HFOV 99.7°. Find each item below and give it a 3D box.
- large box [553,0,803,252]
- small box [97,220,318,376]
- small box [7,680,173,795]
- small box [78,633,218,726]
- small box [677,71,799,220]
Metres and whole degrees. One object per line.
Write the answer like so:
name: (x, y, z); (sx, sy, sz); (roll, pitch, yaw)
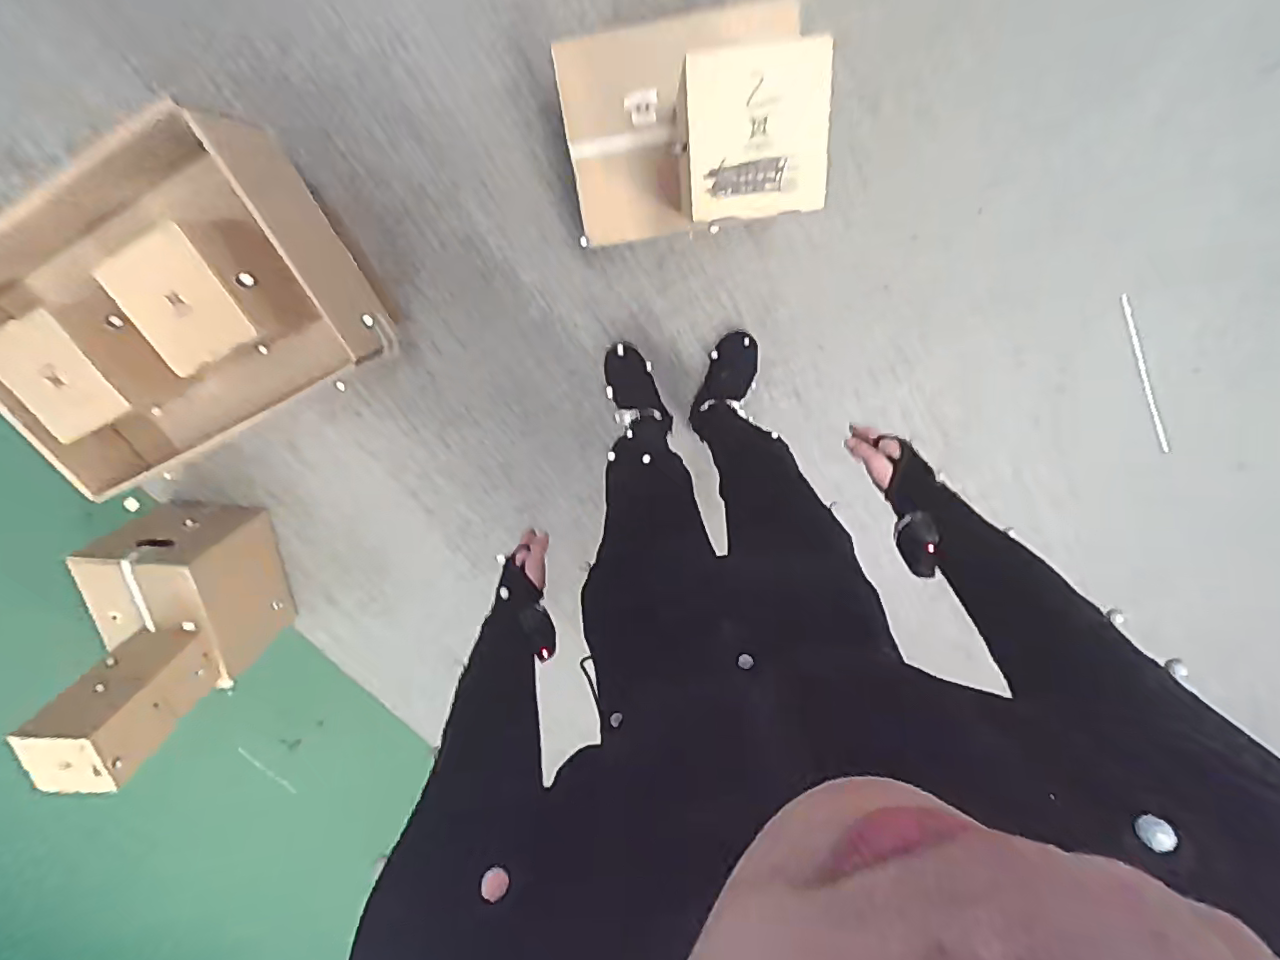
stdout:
large box: (0.081, -0.657, 1.065); (0.408, 0.320, 0.320); (-7, 114, 6)
small box: (-0.673, -0.294, 0.866); (0.168, 0.176, 0.179); (-22, 114, 11)
small box: (-1.222, 0.573, 1.217); (0.179, 0.176, 0.168); (2, 115, 0)
small box: (-1.230, 0.504, 1.366); (0.179, 0.176, 0.168); (2, 115, -1)
small box: (0.147, -0.519, 0.857); (0.168, 0.176, 0.179); (-4, 116, 3)
